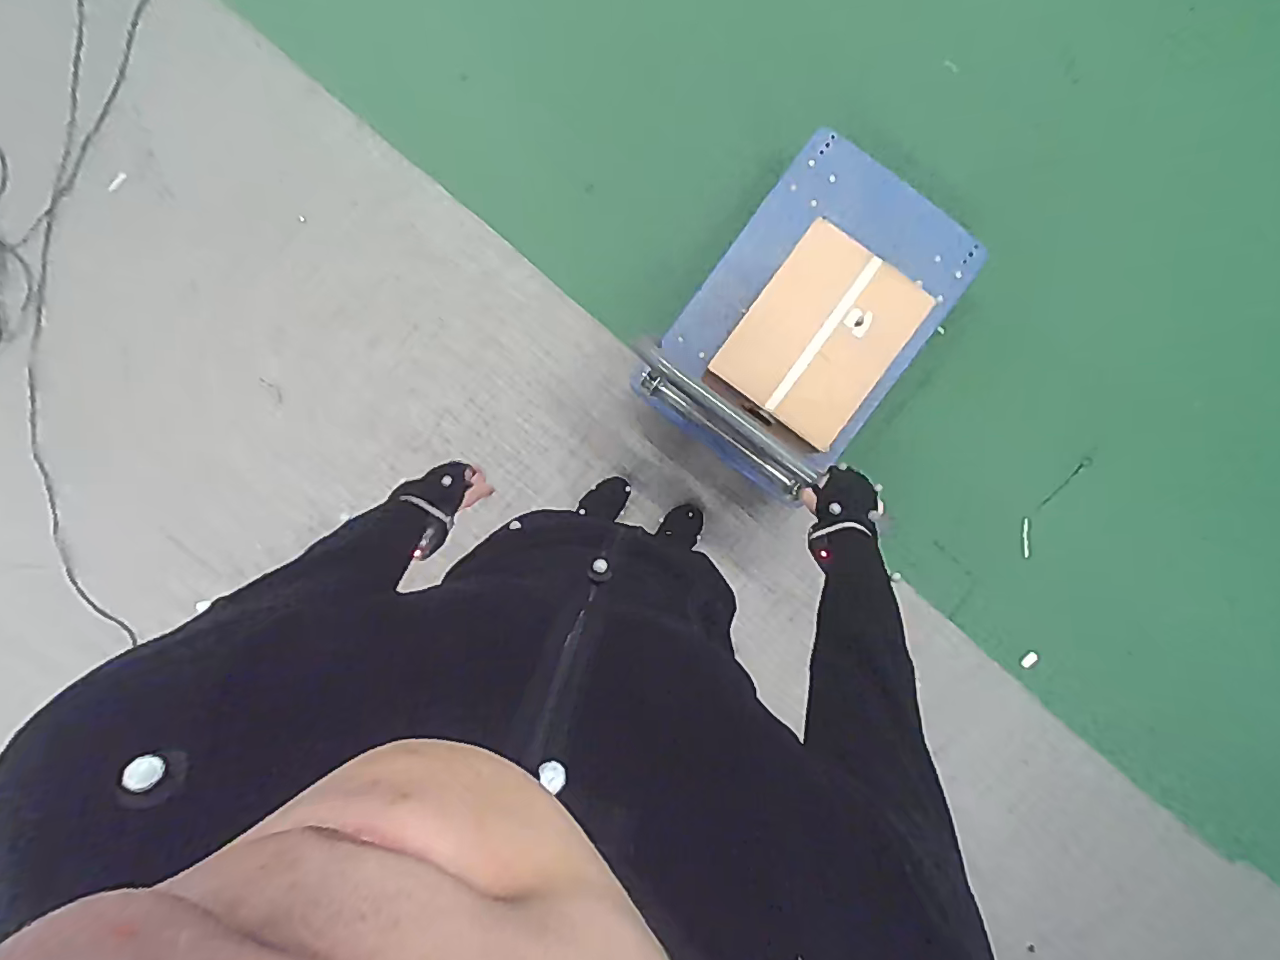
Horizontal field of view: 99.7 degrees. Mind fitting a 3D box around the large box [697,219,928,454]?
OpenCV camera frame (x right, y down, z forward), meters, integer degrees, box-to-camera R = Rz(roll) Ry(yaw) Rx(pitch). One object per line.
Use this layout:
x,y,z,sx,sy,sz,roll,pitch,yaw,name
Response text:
0.383,-0.313,1.308,0.320,0.320,0.408,37,91,-1,large box
